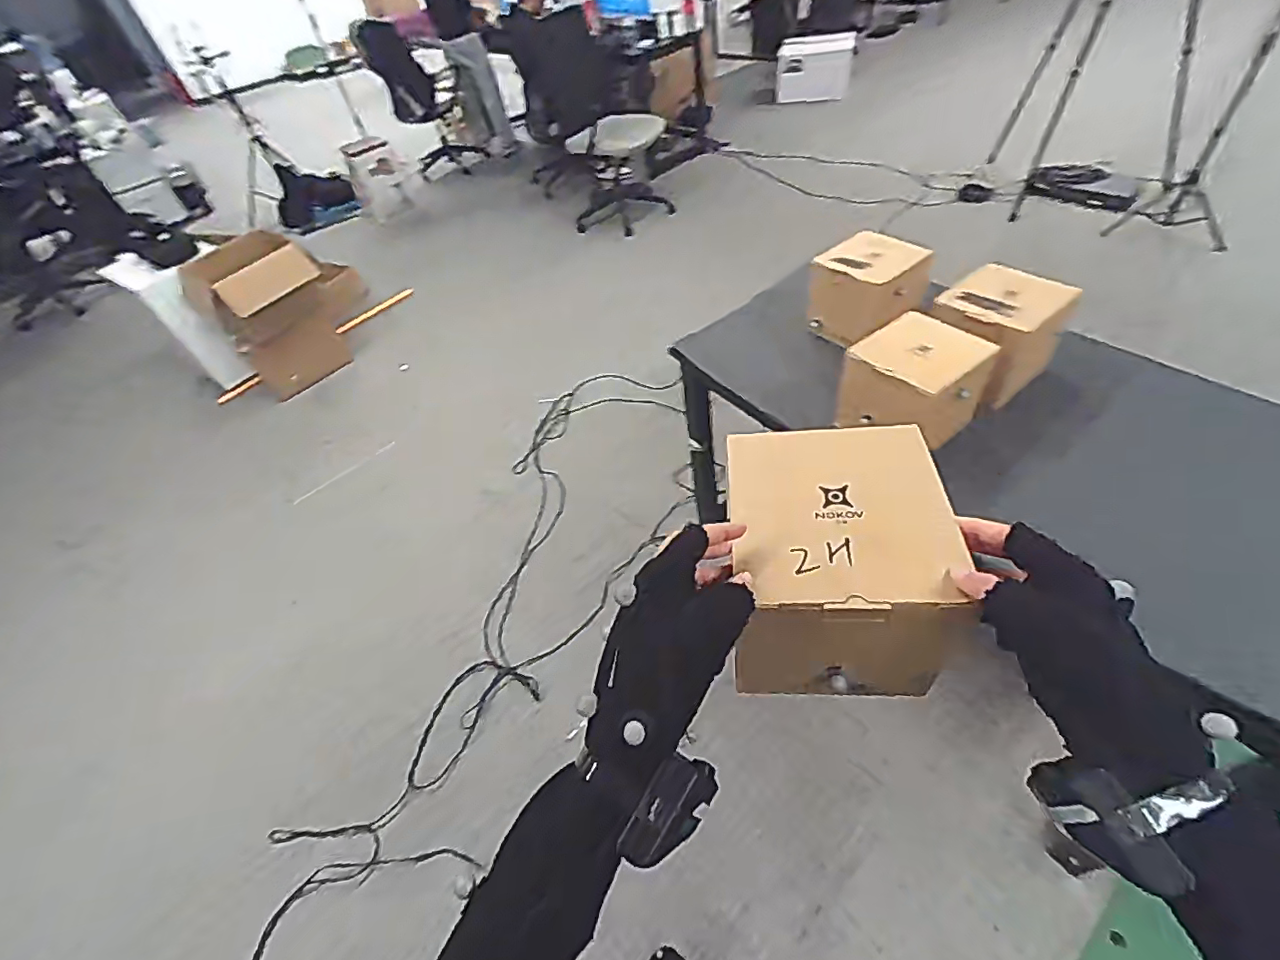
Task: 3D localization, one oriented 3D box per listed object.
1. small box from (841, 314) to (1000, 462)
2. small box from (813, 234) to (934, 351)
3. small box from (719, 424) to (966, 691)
[{"bbox_3d":[0.481,-0.158,0.957,0.179,0.176,0.168,-32,50,-18],"label":"small box"},{"bbox_3d":[0.493,-0.399,1.170,0.179,0.176,0.168,-33,51,-18],"label":"small box"},{"bbox_3d":[0.158,0.072,0.490,0.168,0.176,0.179,-3,48,9],"label":"small box"}]
